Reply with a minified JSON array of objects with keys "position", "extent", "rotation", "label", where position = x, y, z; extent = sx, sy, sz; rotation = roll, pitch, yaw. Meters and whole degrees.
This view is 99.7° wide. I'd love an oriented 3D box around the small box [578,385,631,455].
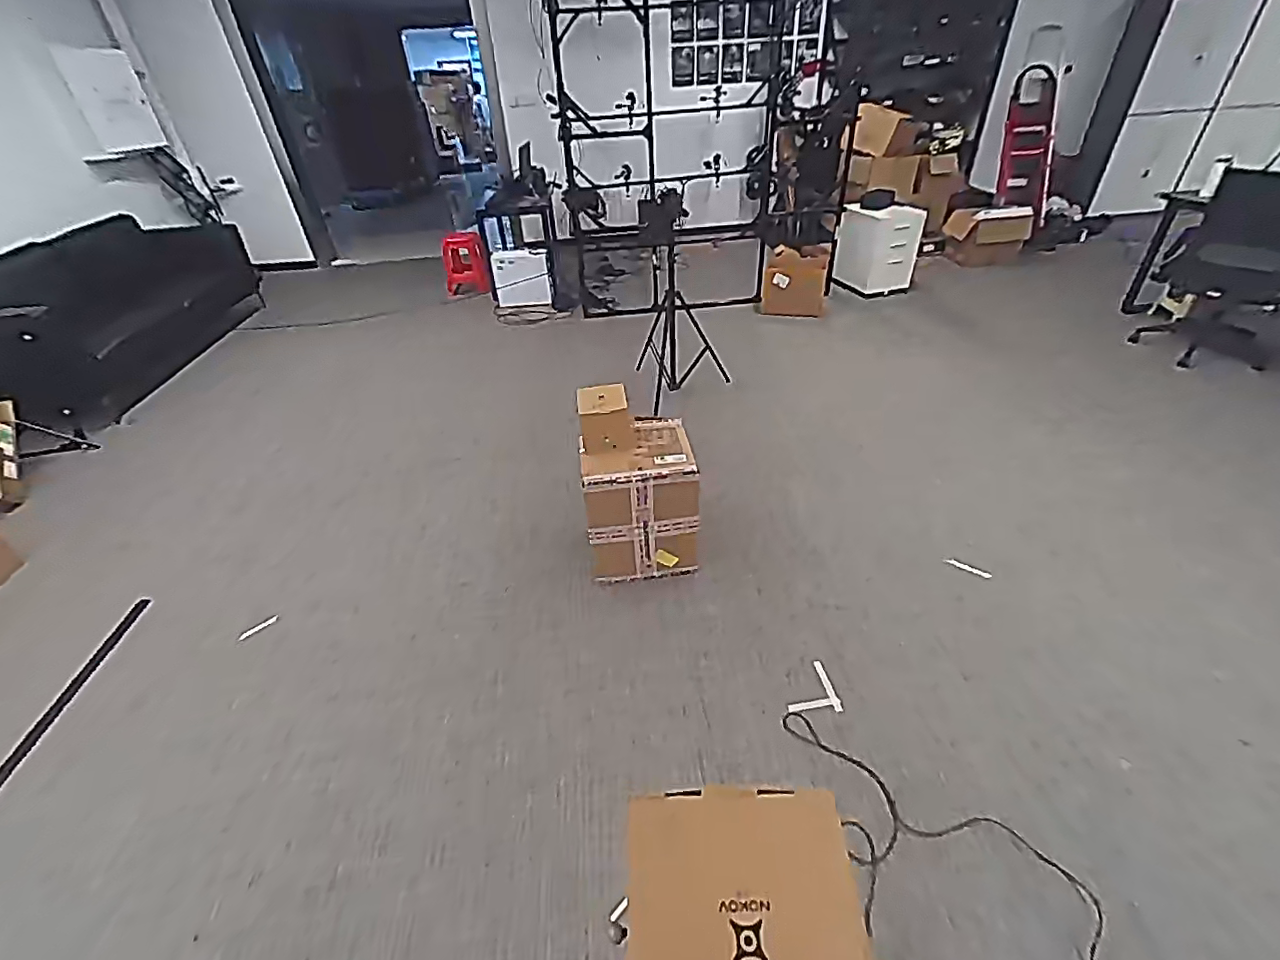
[{"position":[-0.125,-0.210,1.891],"extent":[0.168,0.176,0.179],"rotation":[-8,40,-3],"label":"small box"}]
